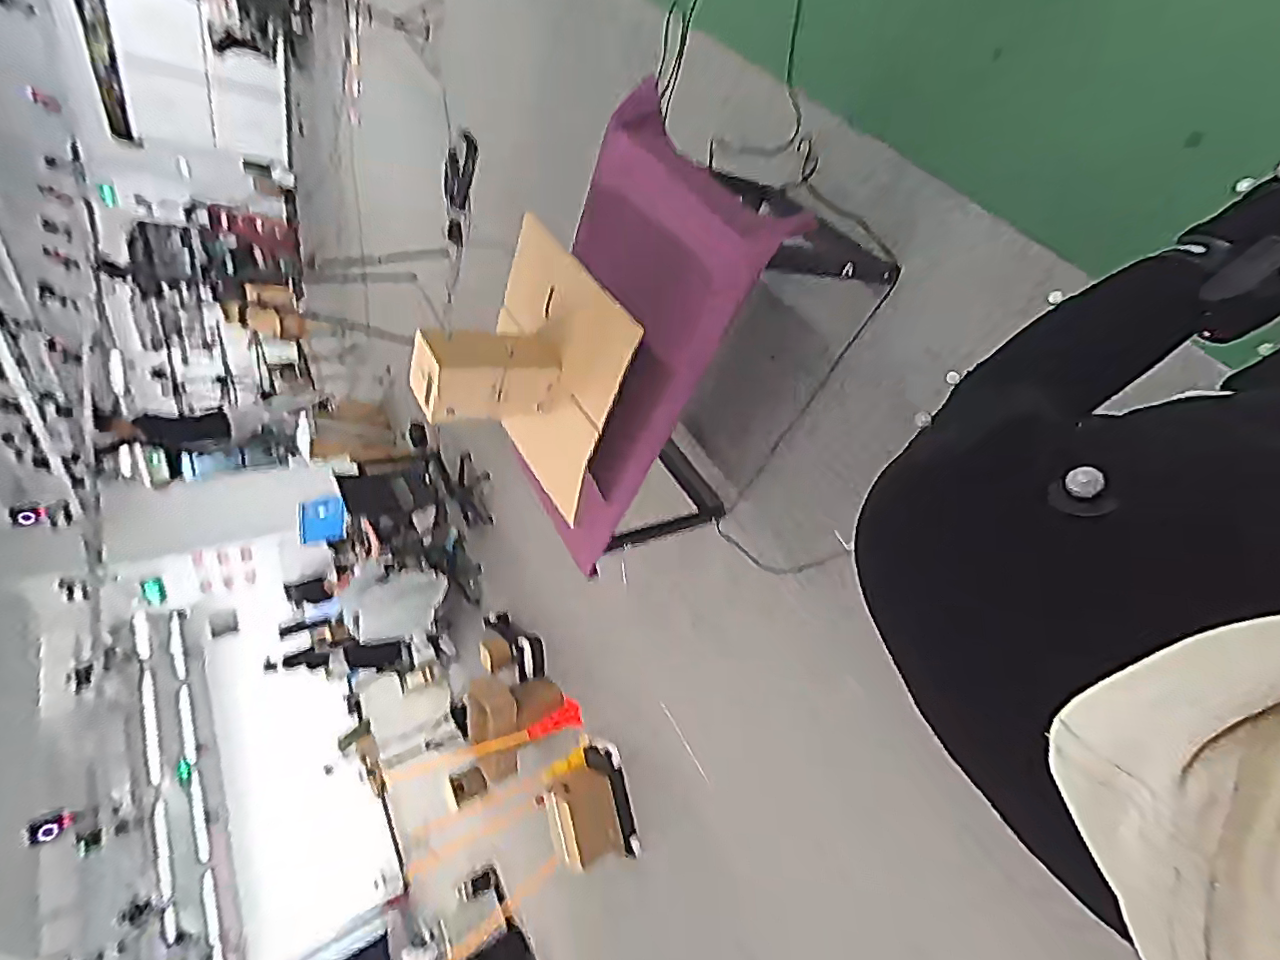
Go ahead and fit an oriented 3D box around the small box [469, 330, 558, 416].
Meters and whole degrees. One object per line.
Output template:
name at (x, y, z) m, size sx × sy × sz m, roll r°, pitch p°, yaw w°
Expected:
small box at (-0.349, -0.298, 1.496) m, size 0.179 × 0.176 × 0.168 m, roll 53°, pitch 133°, yaw 30°
